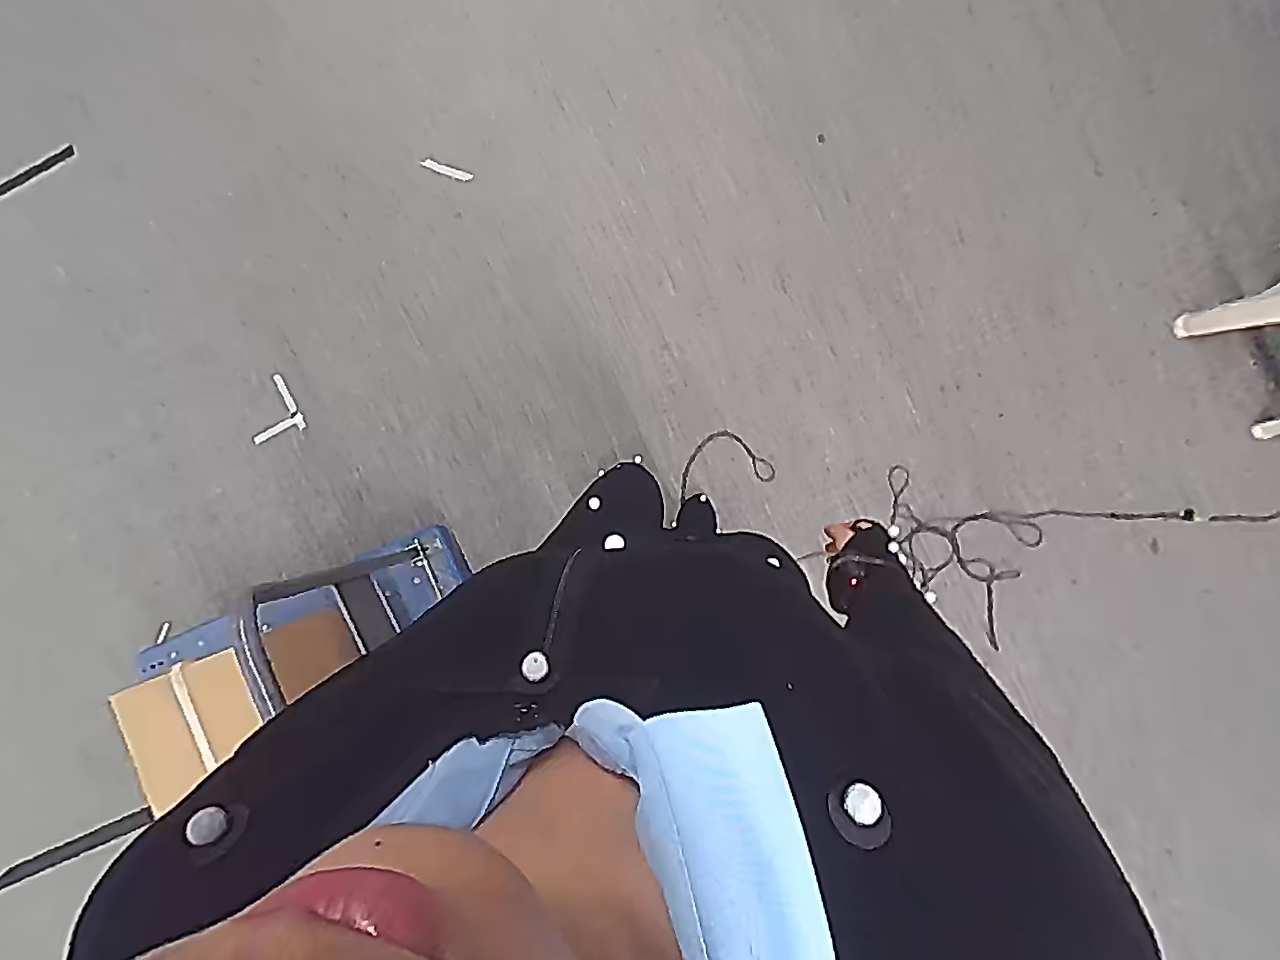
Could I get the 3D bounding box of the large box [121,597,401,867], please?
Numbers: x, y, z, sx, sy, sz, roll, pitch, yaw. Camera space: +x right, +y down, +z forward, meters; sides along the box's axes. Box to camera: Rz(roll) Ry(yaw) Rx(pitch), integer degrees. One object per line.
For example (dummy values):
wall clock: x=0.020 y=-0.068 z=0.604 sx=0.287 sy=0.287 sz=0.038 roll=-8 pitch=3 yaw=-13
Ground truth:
large box: x=-0.816 y=0.533 z=1.221 sx=0.320 sy=0.320 sz=0.408 roll=-22 pitch=90 yaw=3
